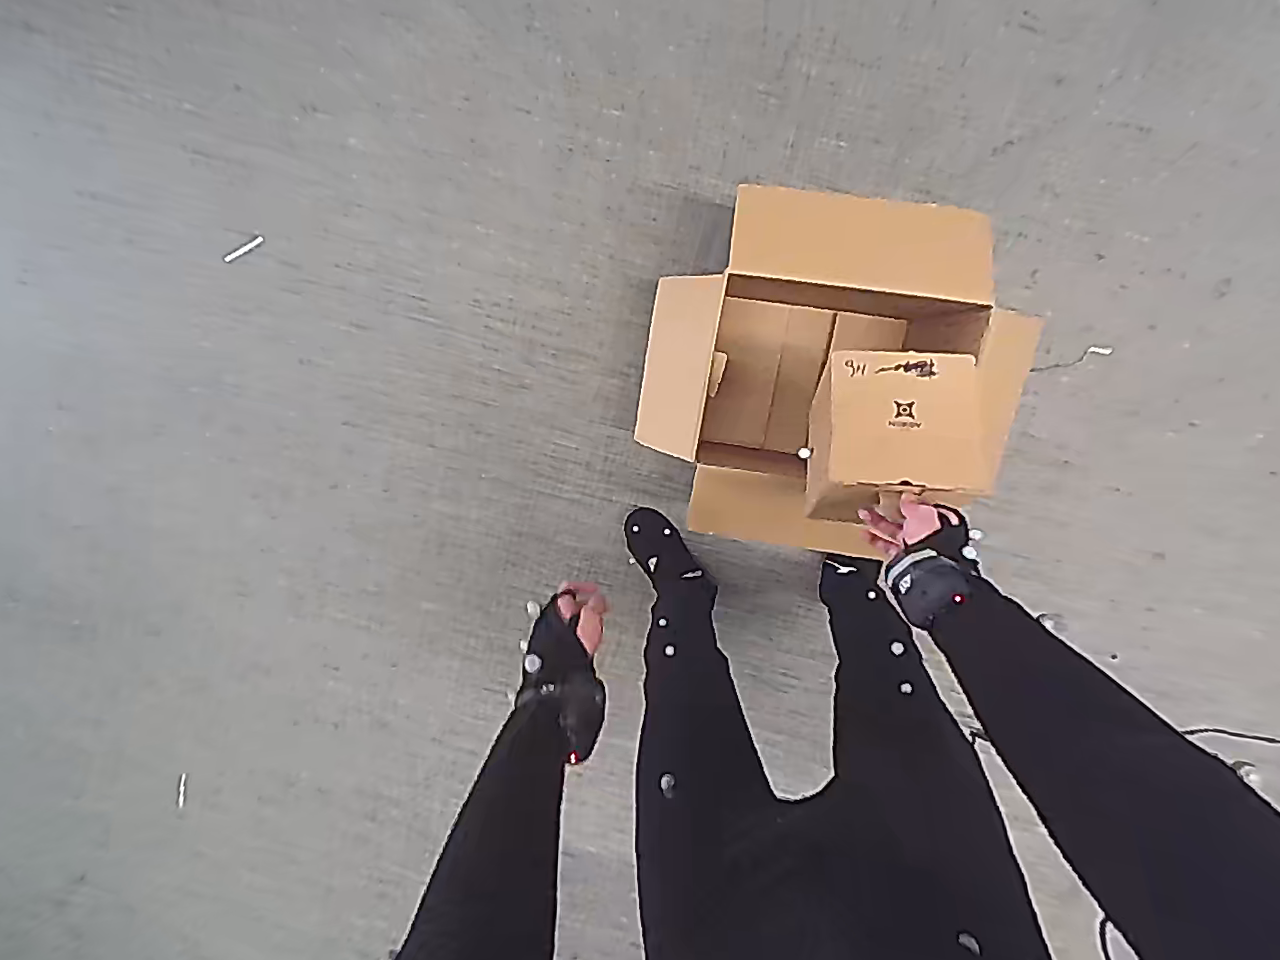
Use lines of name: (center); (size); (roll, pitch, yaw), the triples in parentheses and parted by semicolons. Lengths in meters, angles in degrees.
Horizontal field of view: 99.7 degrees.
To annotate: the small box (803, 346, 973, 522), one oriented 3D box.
small box: (0.311, -0.052, 0.707); (0.168, 0.176, 0.179); (6, 72, 10)
